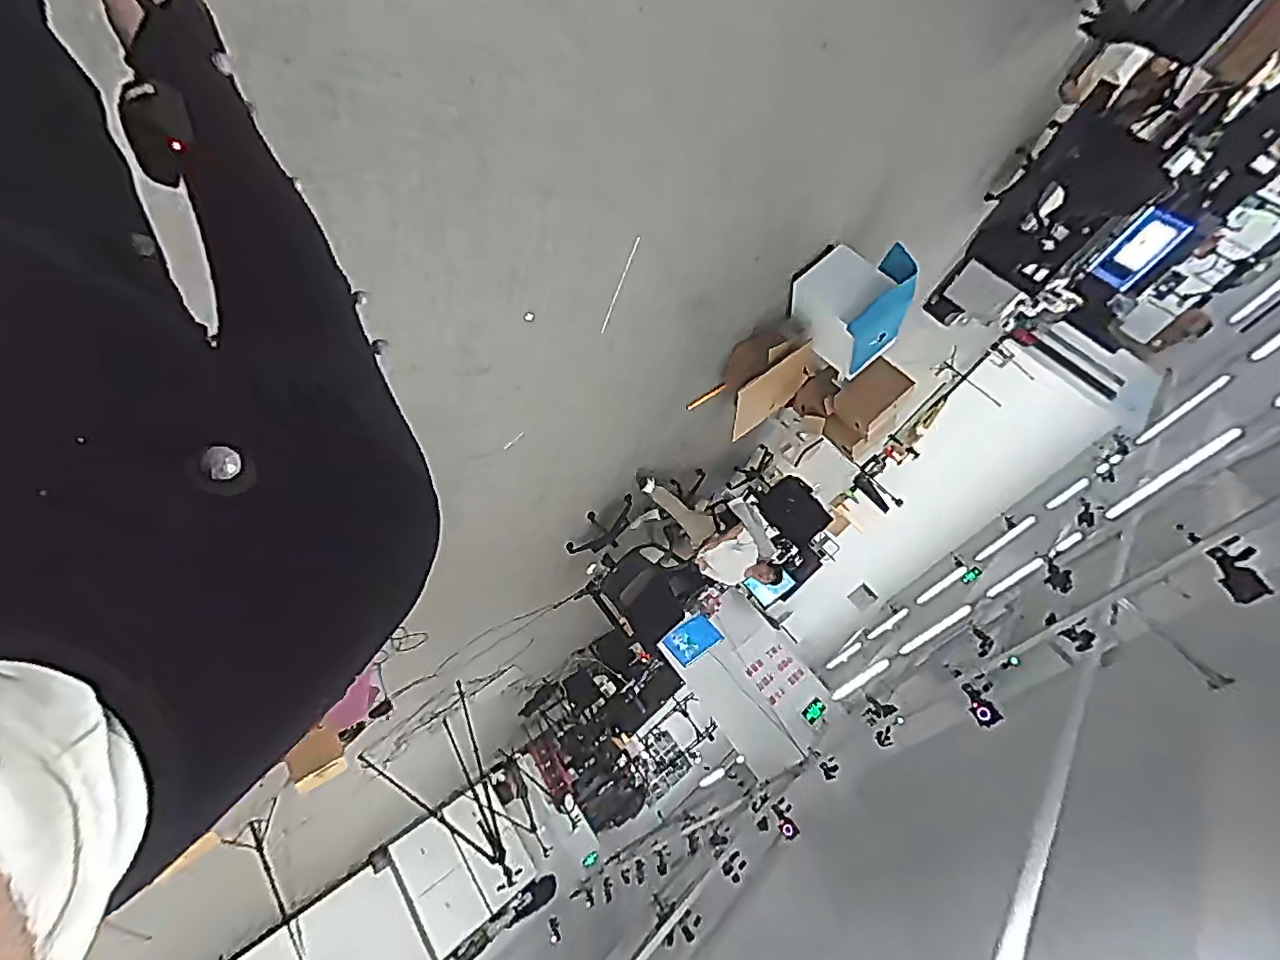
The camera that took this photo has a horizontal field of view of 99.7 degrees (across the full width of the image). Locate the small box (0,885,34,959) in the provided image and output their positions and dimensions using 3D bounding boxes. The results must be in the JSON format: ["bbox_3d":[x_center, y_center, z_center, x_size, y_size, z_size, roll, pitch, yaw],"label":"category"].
[{"bbox_3d":[-1.720,1.193,1.395,0.168,0.176,0.179,-20,151,-44],"label":"small box"}]

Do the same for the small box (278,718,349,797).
[{"bbox_3d":[-1.158,0.978,1.919,0.168,0.176,0.179,-23,153,-38],"label":"small box"}]

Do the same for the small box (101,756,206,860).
[{"bbox_3d":[-1.323,0.889,1.475,0.168,0.176,0.179,-22,152,-40],"label":"small box"}]

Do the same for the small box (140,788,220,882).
[{"bbox_3d":[-1.442,1.099,1.682,0.168,0.176,0.179,-22,151,-42],"label":"small box"}]
